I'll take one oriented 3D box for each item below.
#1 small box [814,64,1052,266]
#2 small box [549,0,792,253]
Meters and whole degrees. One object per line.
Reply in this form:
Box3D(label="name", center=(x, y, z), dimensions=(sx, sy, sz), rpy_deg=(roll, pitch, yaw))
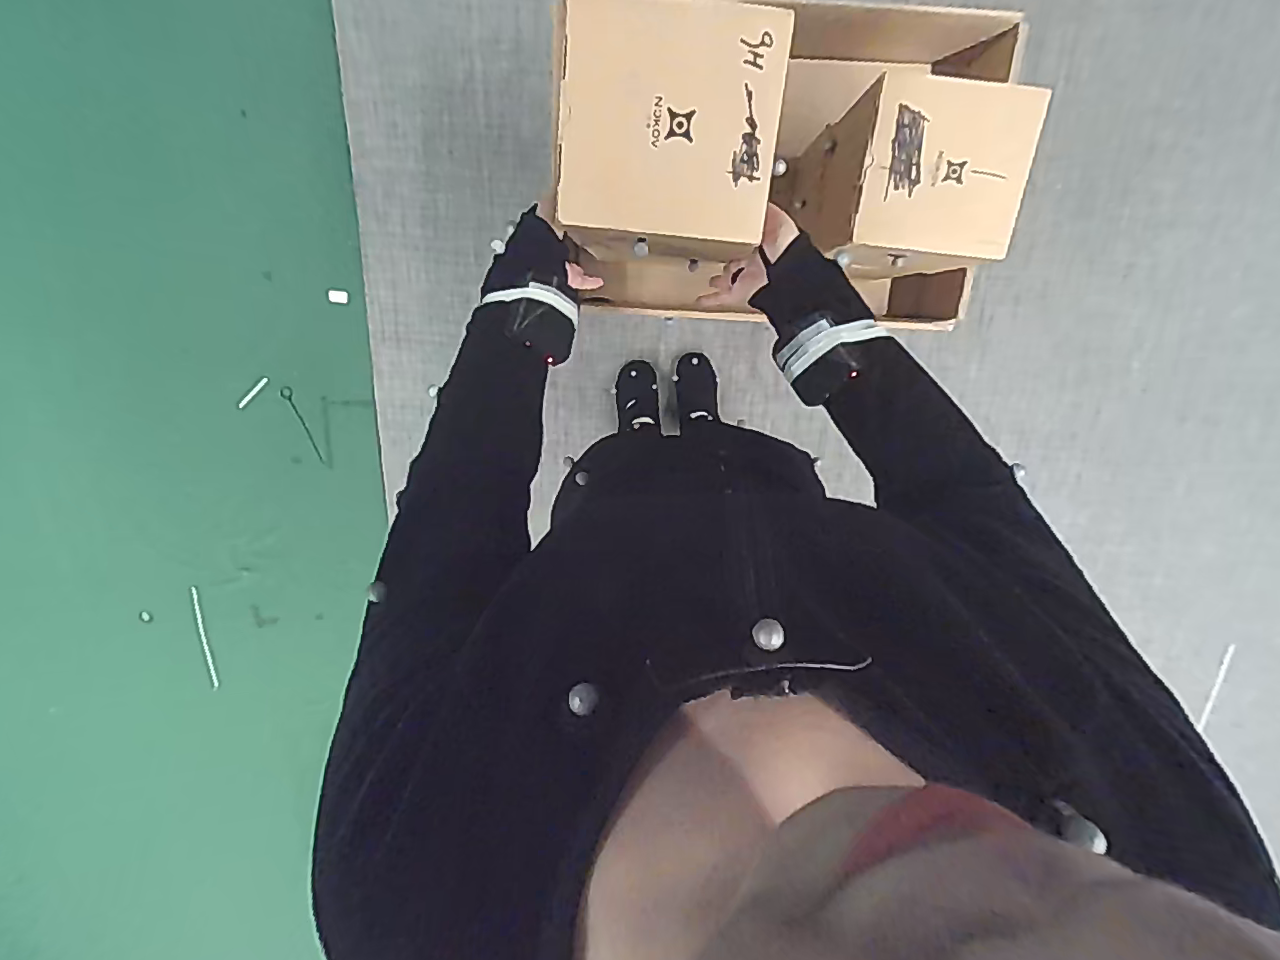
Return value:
Box3D(label="small box", center=(0.325, -0.356, 0.644), dimensions=(0.179, 0.176, 0.168), rpy_deg=(6, 107, -1))
Box3D(label="small box", center=(0.022, -0.313, 0.502), dimensions=(0.179, 0.176, 0.168), rpy_deg=(6, 108, 0))
